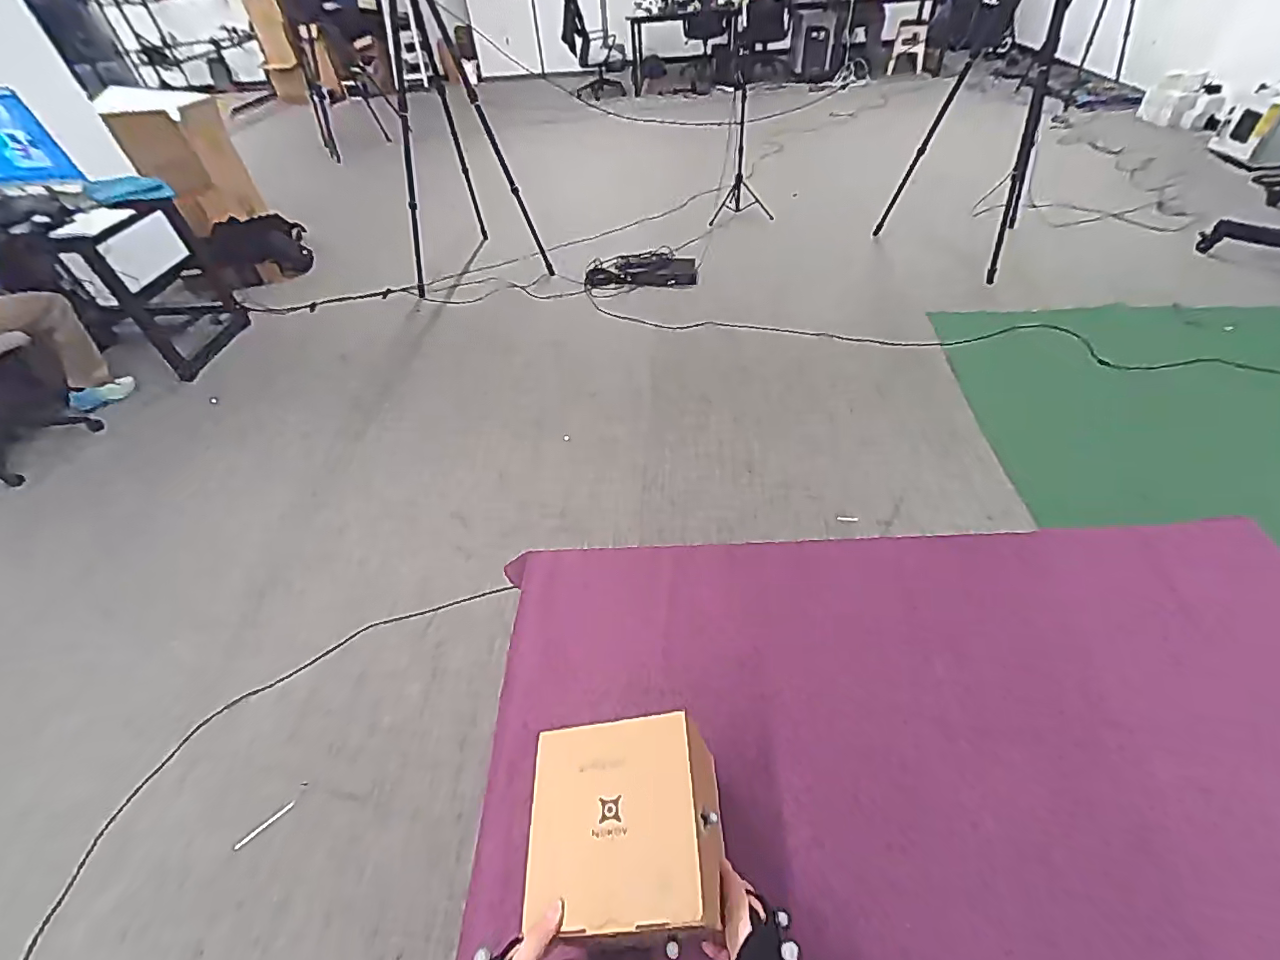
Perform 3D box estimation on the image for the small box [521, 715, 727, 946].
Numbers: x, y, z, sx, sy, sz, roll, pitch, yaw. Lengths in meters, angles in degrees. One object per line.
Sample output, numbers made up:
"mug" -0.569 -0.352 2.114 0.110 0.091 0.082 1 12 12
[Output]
"small box" -0.008 0.376 0.575 0.168 0.176 0.179 -12 44 10
